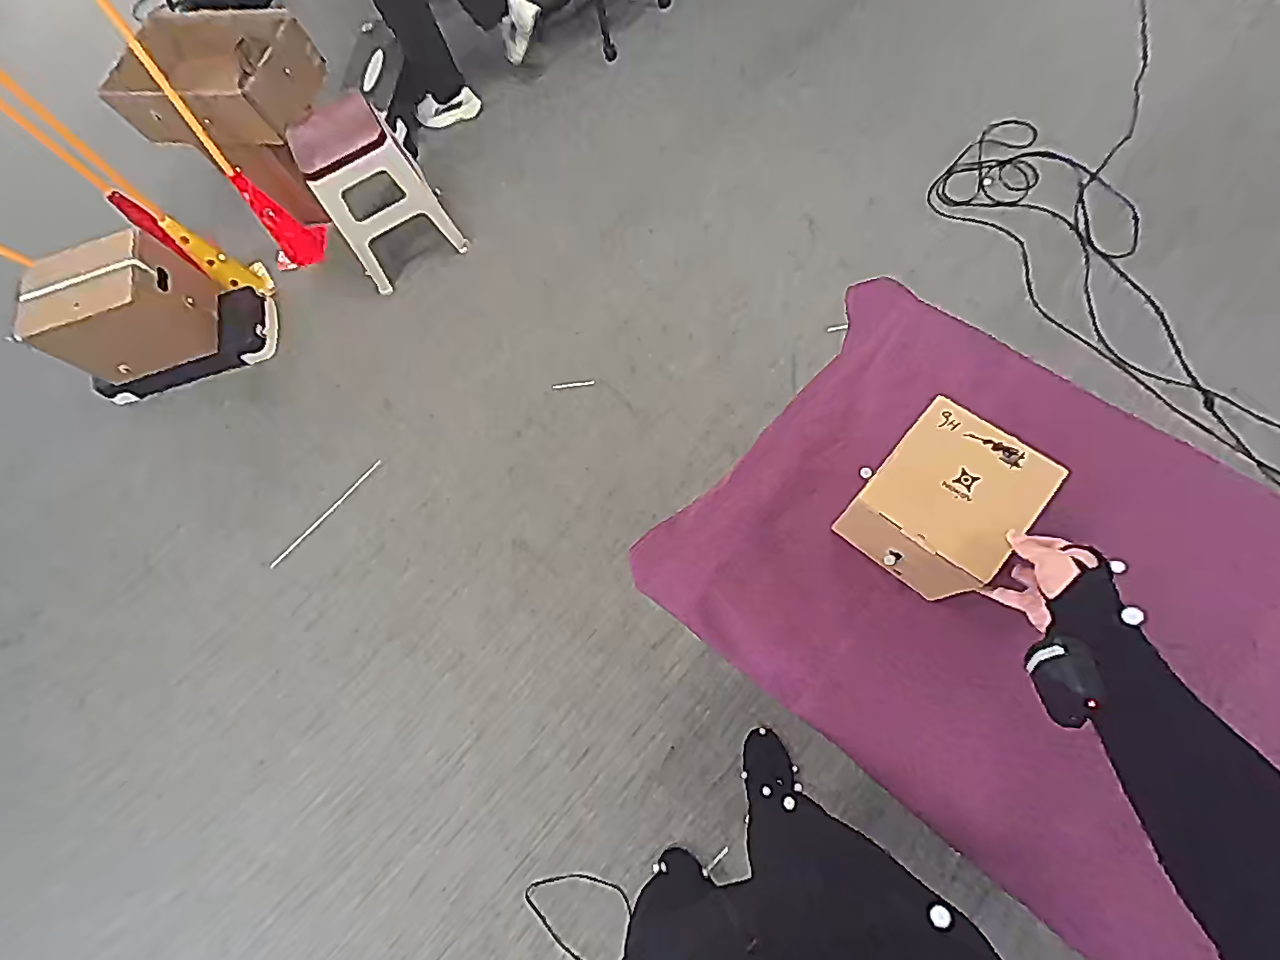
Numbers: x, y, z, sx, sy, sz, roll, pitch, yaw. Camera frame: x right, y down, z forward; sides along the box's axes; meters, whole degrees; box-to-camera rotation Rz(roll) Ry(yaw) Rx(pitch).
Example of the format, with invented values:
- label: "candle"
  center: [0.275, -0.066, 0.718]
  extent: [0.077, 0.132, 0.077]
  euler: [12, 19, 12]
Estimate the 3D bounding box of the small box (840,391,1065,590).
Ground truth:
- label: "small box"
  center: [0.384, 0.025, 0.705]
  extent: [0.168, 0.176, 0.179]
  euler: [39, 82, 18]
